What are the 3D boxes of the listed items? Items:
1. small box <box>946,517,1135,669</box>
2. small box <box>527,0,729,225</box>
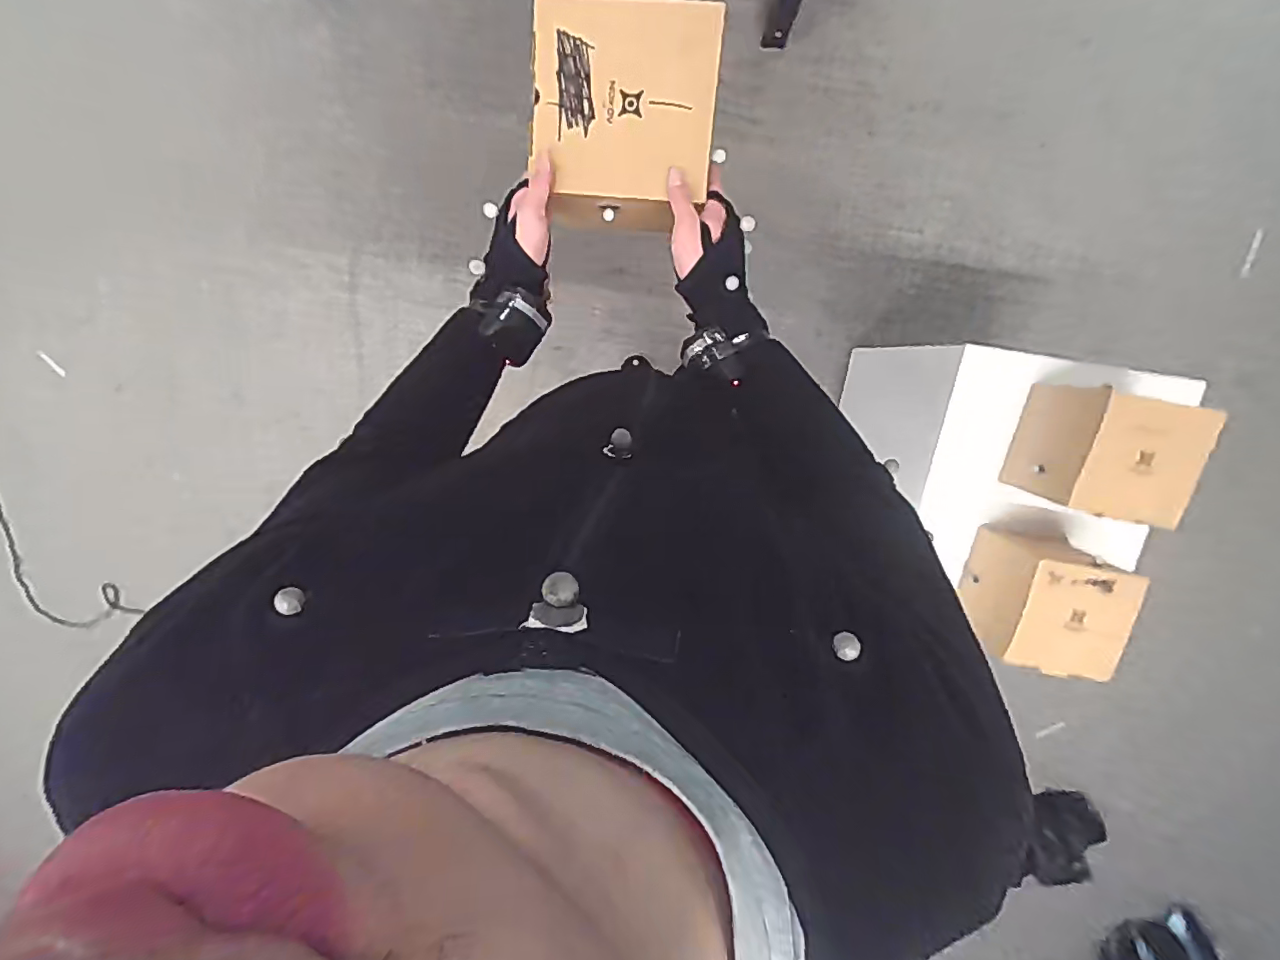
[{"bbox_3d":[0.651,0.182,0.909,0.168,0.176,0.179,11,104,-2],"label":"small box"},{"bbox_3d":[-0.010,-0.376,0.570,0.179,0.176,0.168,5,106,2],"label":"small box"}]
